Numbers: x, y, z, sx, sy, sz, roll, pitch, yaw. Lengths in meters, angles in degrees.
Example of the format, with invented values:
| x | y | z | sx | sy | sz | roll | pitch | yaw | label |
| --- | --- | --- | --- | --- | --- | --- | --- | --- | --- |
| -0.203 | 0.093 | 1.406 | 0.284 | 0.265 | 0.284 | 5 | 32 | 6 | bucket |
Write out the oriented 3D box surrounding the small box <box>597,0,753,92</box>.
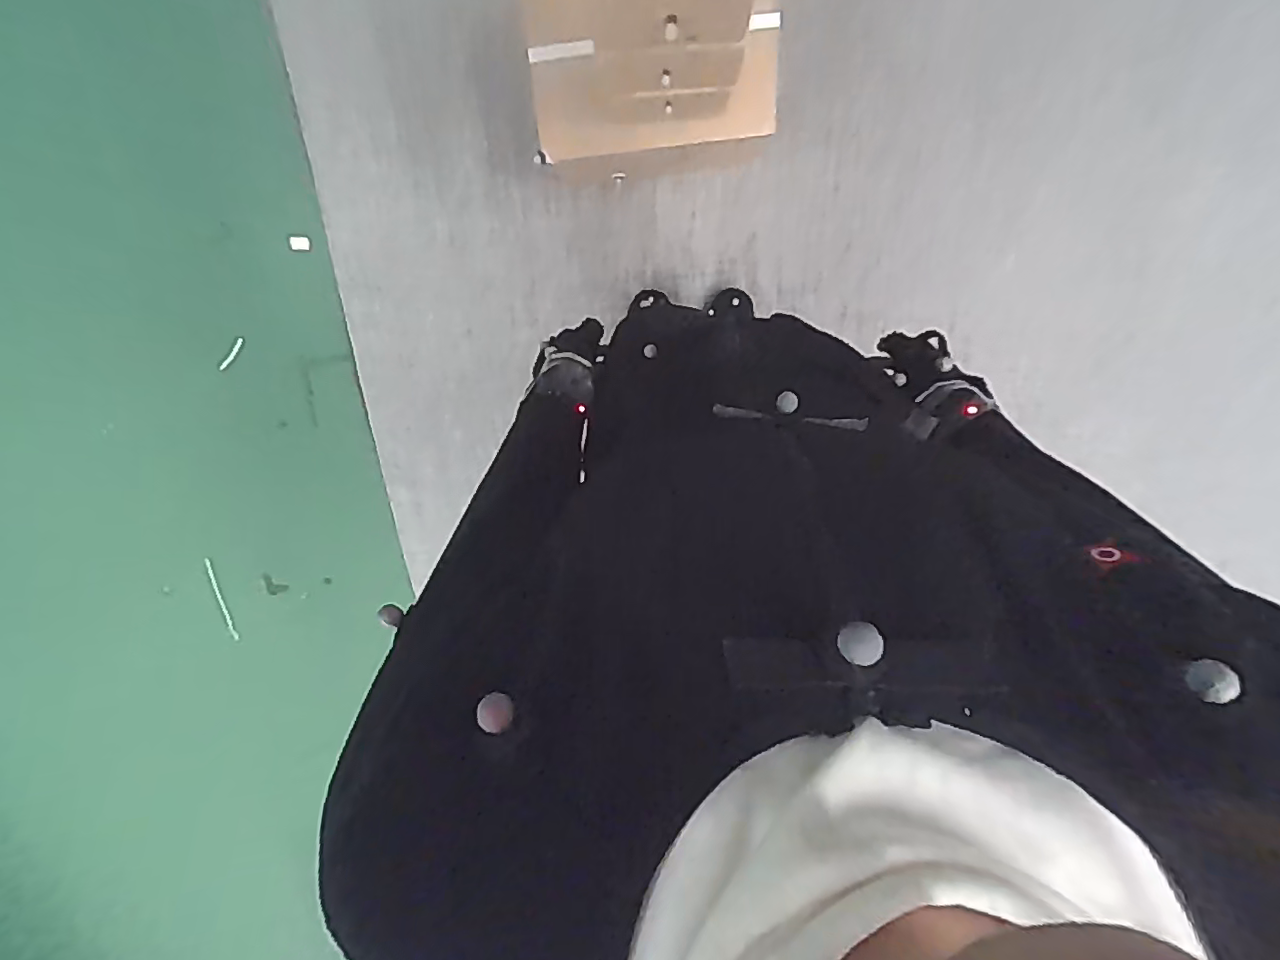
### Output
| x | y | z | sx | sy | sz | roll | pitch | yaw | label |
| --- | --- | --- | --- | --- | --- | --- | --- | --- | --- |
| 0.038 | -0.592 | 0.652 | 0.179 | 0.176 | 0.168 | -3 | 114 | 6 | small box |

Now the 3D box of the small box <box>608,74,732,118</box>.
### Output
| x | y | z | sx | sy | sz | roll | pitch | yaw | label |
| --- | --- | --- | --- | --- | --- | --- | --- | --- | --- |
| 0.044 | -0.655 | 0.803 | 0.179 | 0.176 | 0.168 | -1 | 114 | 5 | small box |

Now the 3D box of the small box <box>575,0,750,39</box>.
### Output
| x | y | z | sx | sy | sz | roll | pitch | yaw | label |
| --- | --- | --- | --- | --- | --- | --- | --- | --- | --- |
| 0.025 | -0.537 | 0.498 | 0.168 | 0.176 | 0.179 | 1 | 114 | 6 | small box |
